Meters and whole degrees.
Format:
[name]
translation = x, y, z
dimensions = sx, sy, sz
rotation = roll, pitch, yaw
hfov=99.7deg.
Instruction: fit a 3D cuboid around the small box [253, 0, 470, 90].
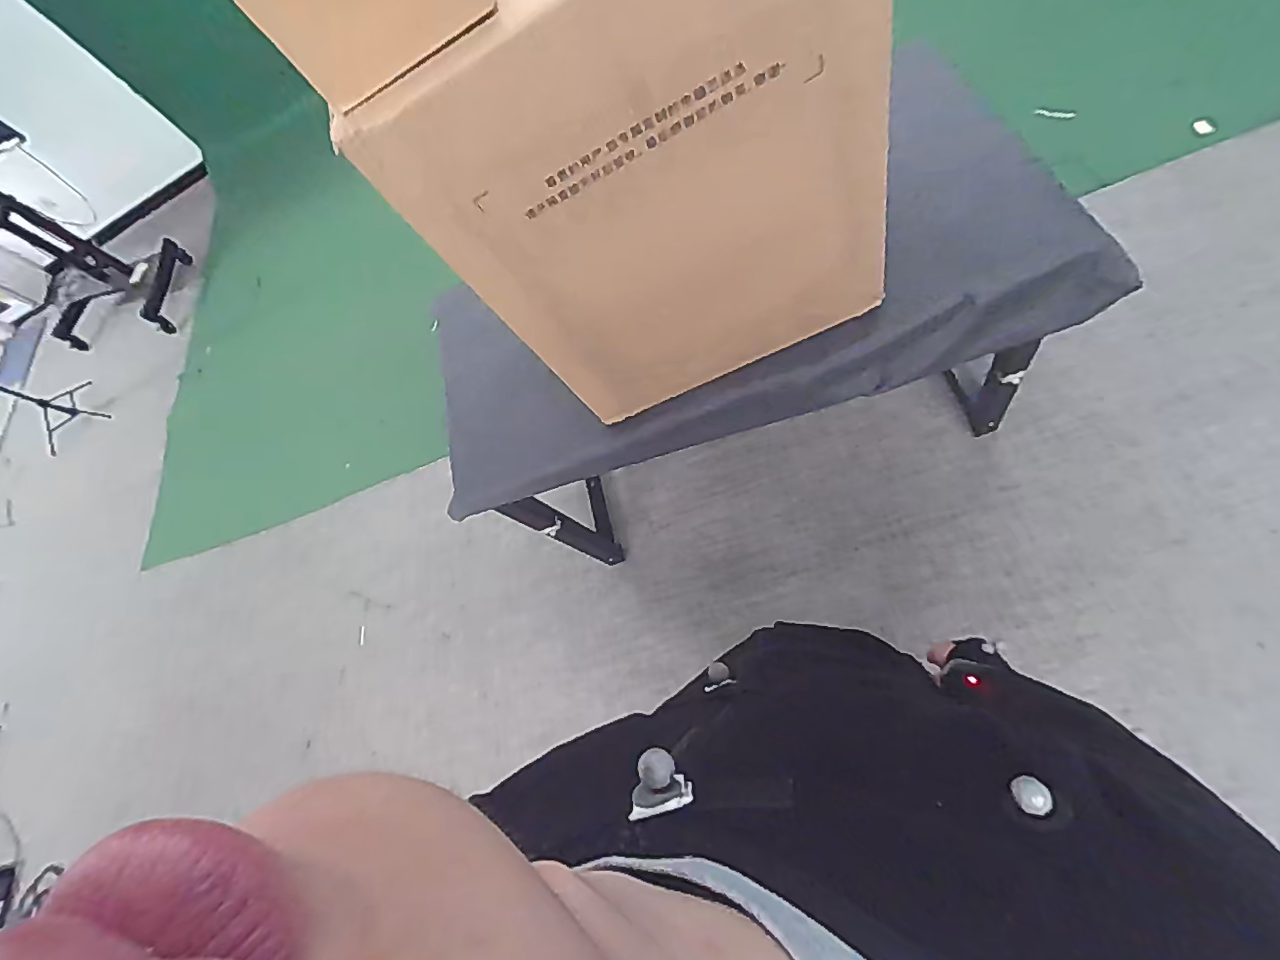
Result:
[small box]
translation = -0.250, -0.474, 0.438
dimensions = 0.179, 0.176, 0.168
rotation = -22, 66, 15
